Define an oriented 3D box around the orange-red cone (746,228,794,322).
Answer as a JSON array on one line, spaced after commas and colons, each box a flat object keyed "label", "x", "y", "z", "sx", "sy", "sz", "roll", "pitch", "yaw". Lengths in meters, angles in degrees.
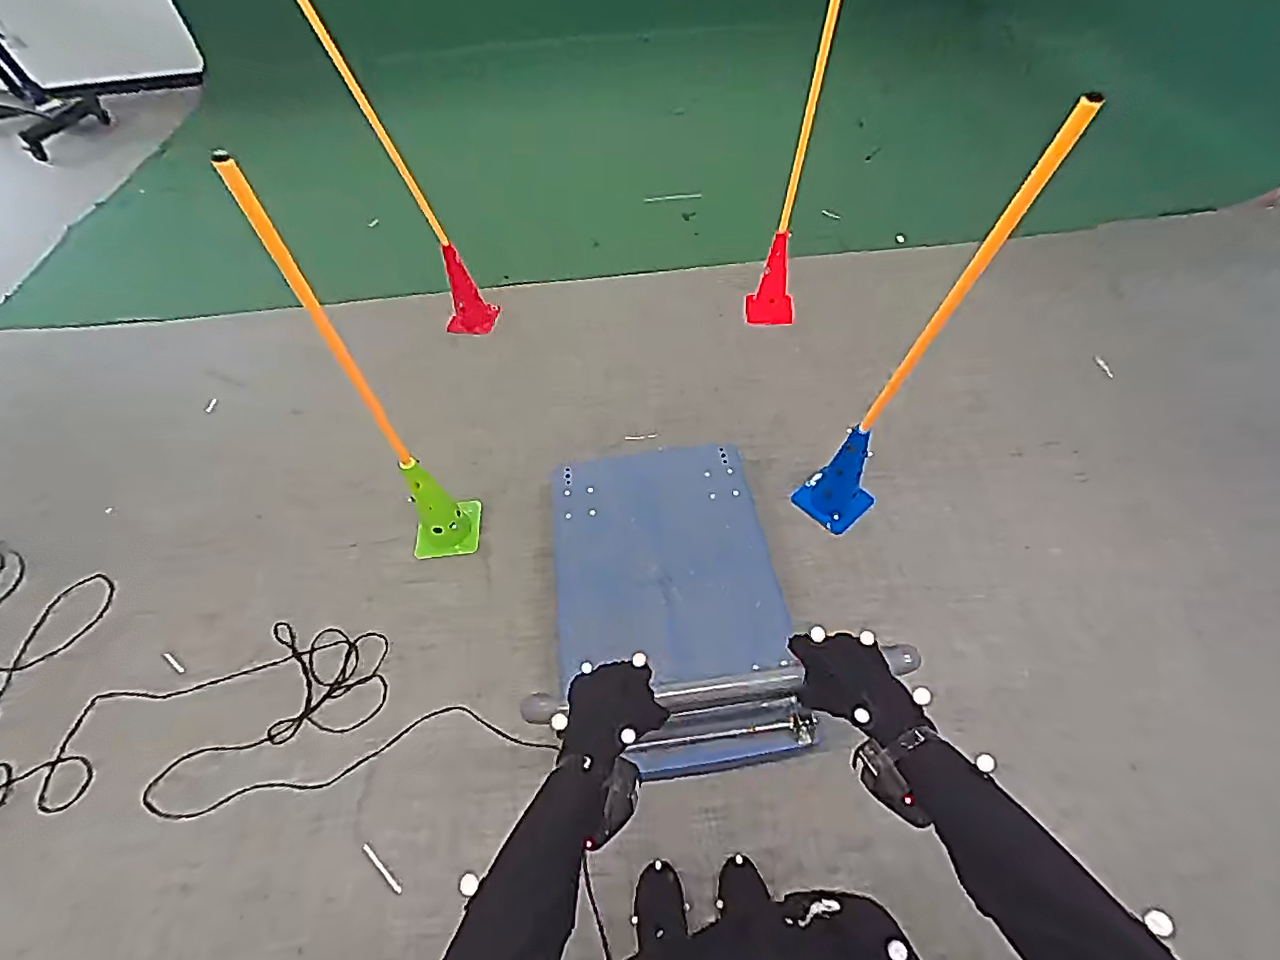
[{"label": "orange-red cone", "x": 0.547, "y": -0.840, "z": 2.184, "sx": 0.198, "sy": 0.360, "sz": 0.199, "roll": 3, "pitch": 56, "yaw": 7}]
